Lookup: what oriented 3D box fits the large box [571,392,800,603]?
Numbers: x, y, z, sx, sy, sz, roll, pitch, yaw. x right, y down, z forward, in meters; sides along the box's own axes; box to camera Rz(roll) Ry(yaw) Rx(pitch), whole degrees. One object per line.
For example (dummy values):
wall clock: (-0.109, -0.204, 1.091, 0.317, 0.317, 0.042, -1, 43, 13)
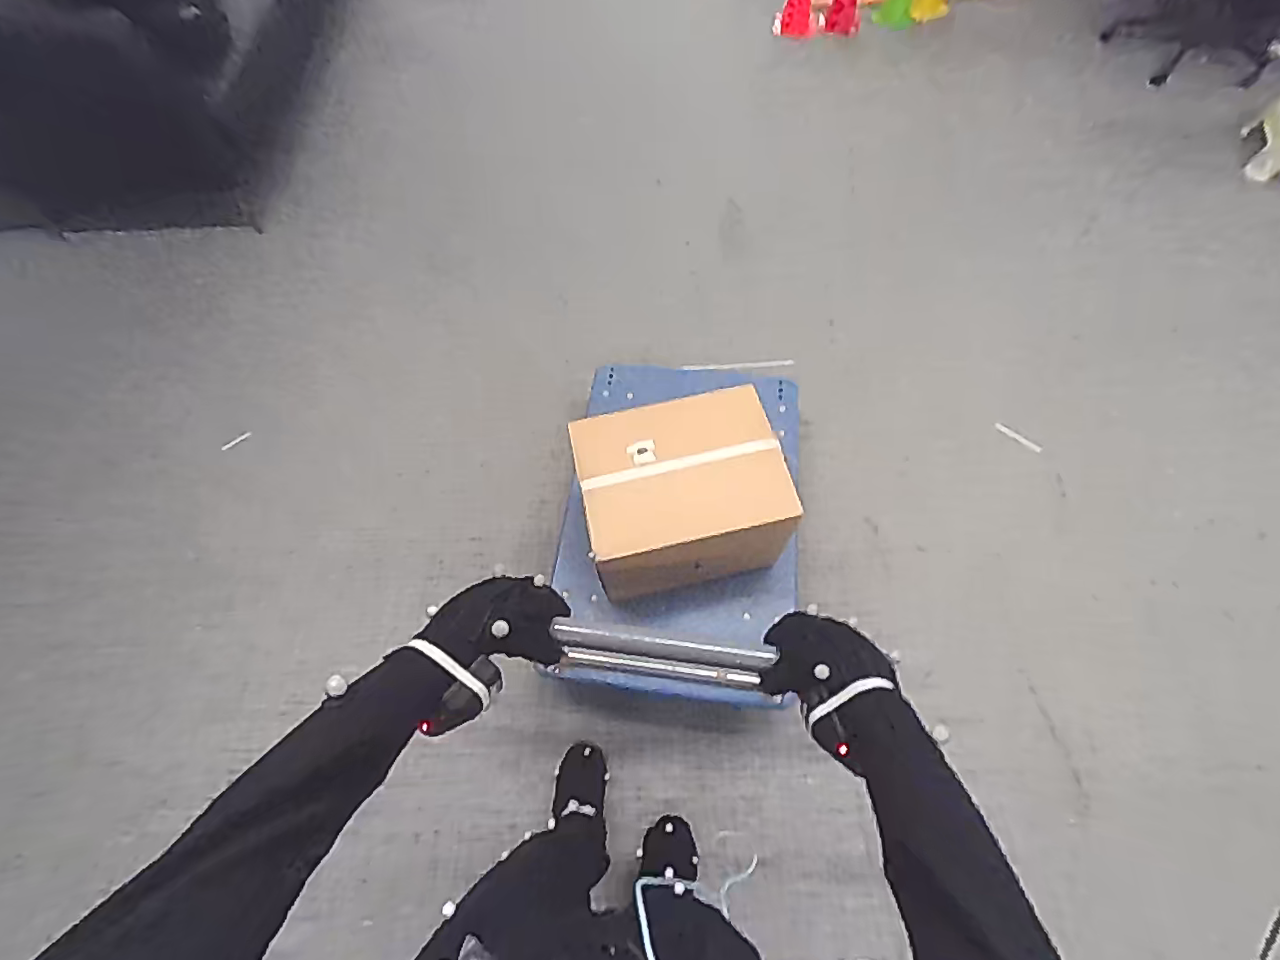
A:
large box: (0.089, 0.052, 1.214, 0.408, 0.320, 0.320, -13, 63, -3)
